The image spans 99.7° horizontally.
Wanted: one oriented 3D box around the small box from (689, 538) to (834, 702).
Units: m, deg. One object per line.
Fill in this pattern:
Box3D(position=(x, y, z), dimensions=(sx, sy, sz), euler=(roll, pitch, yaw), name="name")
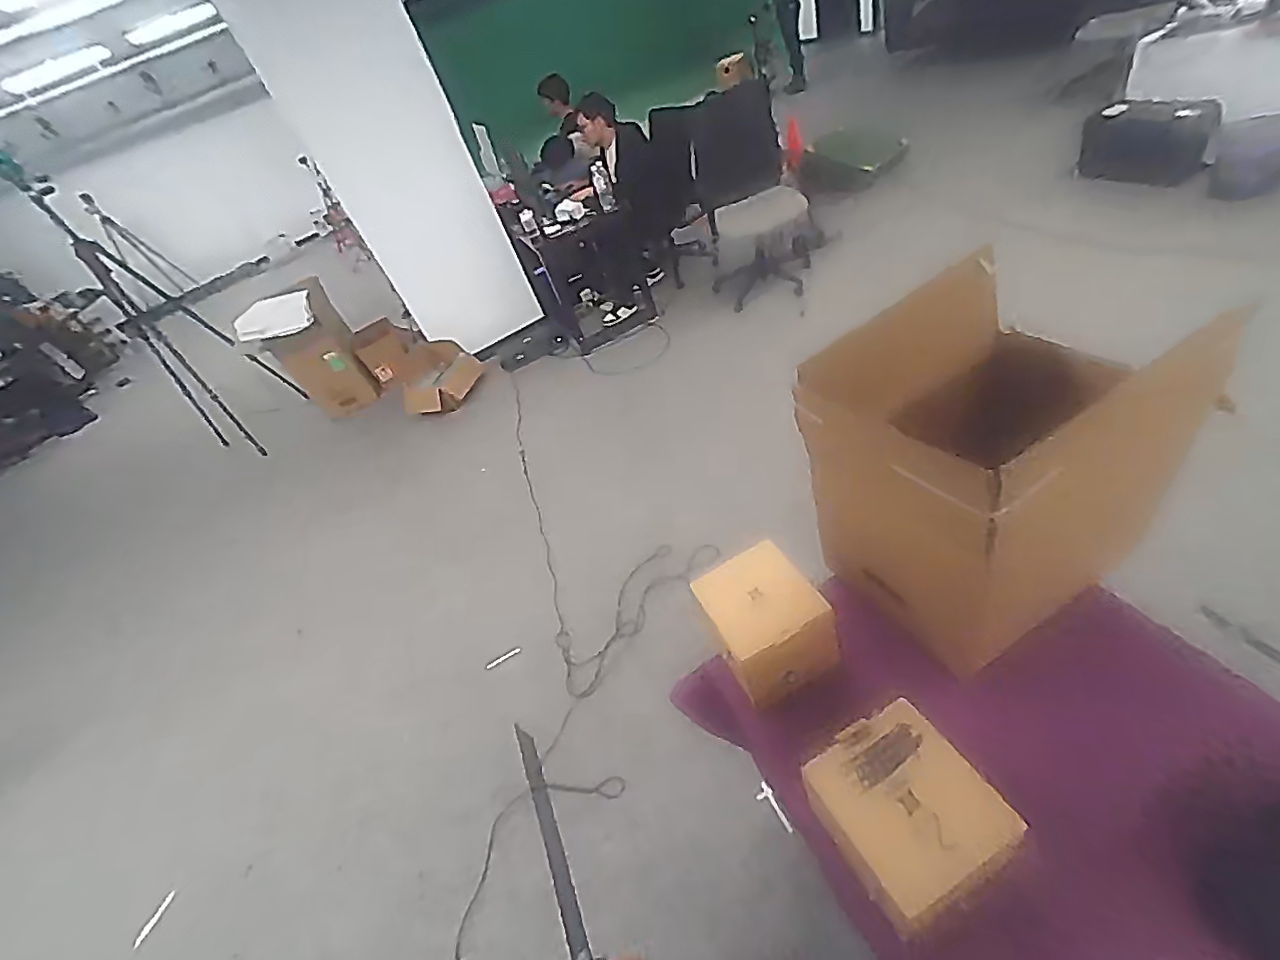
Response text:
Box3D(position=(0.208, 0.239, 0.922), dimensions=(0.168, 0.176, 0.179), euler=(-29, 42, -7), name="small box")
